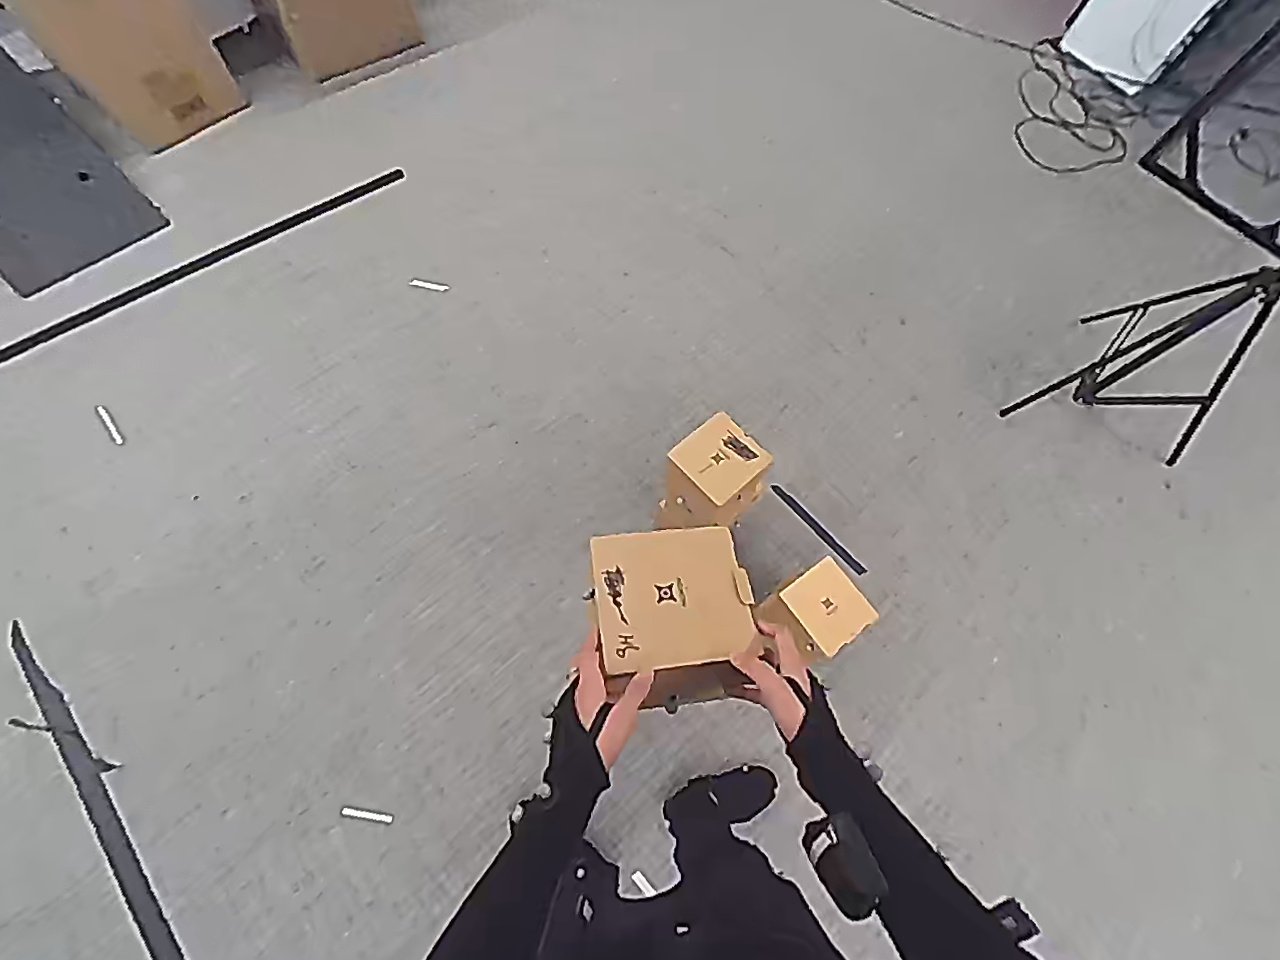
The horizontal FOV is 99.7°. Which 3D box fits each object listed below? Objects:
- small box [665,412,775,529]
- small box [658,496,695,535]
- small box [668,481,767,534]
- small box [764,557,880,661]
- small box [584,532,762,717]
[{"bbox_3d":[0.173,-0.016,1.241,0.179,0.176,0.168,-39,74,-17],"label":"small box"},{"bbox_3d":[0.167,0.099,1.549,0.179,0.176,0.168,-42,76,-18],"label":"small box"},{"bbox_3d":[0.190,0.043,1.396,0.179,0.176,0.168,43,71,13],"label":"small box"},{"bbox_3d":[0.427,0.316,1.303,0.168,0.176,0.179,-32,74,-16],"label":"small box"},{"bbox_3d":[0.026,0.181,0.668,0.179,0.176,0.168,-3,54,-10],"label":"small box"}]
